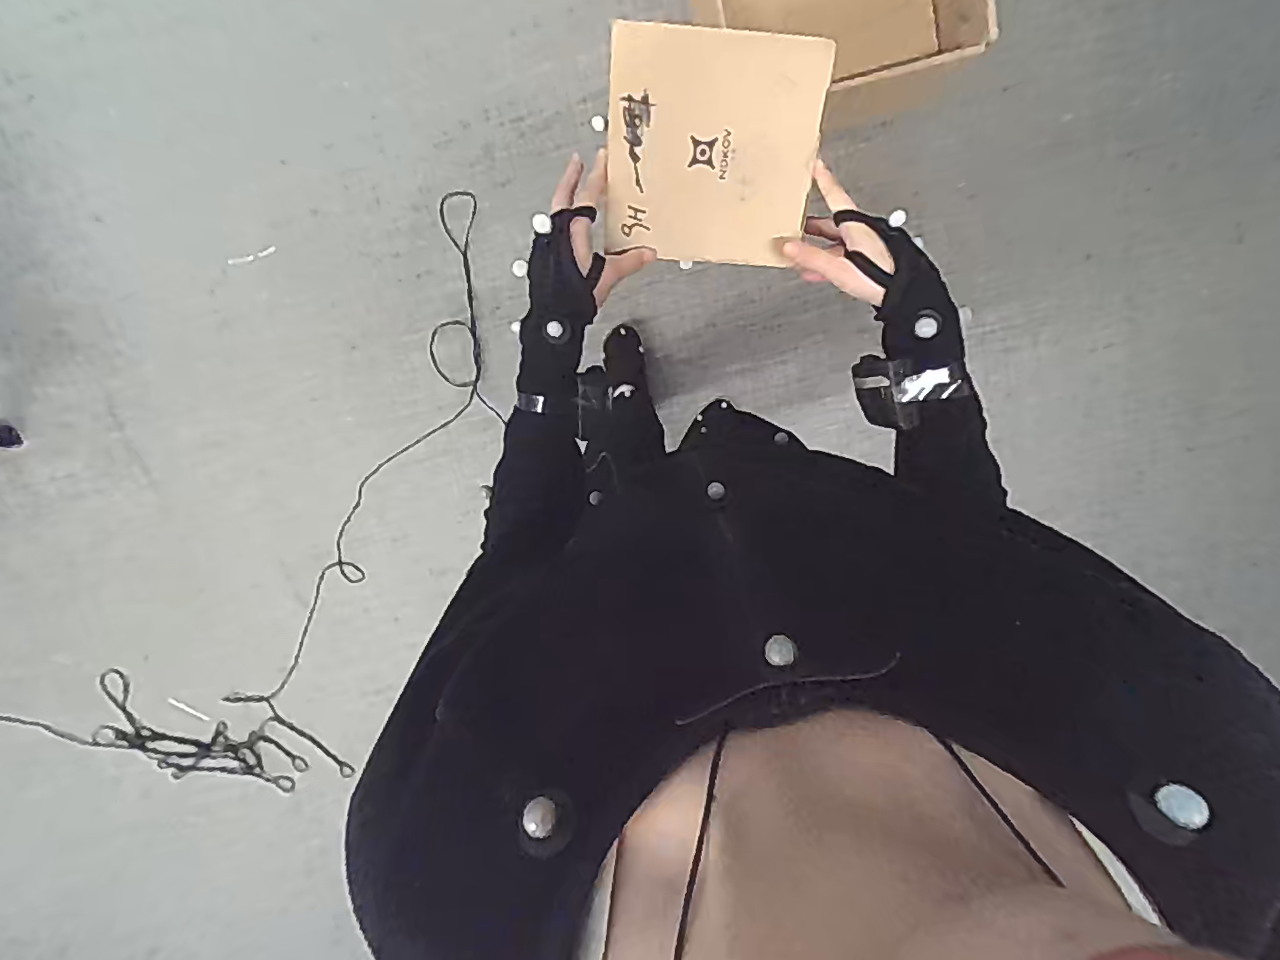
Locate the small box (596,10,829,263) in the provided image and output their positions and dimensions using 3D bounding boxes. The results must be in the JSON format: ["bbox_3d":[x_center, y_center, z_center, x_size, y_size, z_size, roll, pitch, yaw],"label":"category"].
[{"bbox_3d":[0.051,-0.305,0.512,0.179,0.176,0.168,3,114,-3],"label":"small box"}]
